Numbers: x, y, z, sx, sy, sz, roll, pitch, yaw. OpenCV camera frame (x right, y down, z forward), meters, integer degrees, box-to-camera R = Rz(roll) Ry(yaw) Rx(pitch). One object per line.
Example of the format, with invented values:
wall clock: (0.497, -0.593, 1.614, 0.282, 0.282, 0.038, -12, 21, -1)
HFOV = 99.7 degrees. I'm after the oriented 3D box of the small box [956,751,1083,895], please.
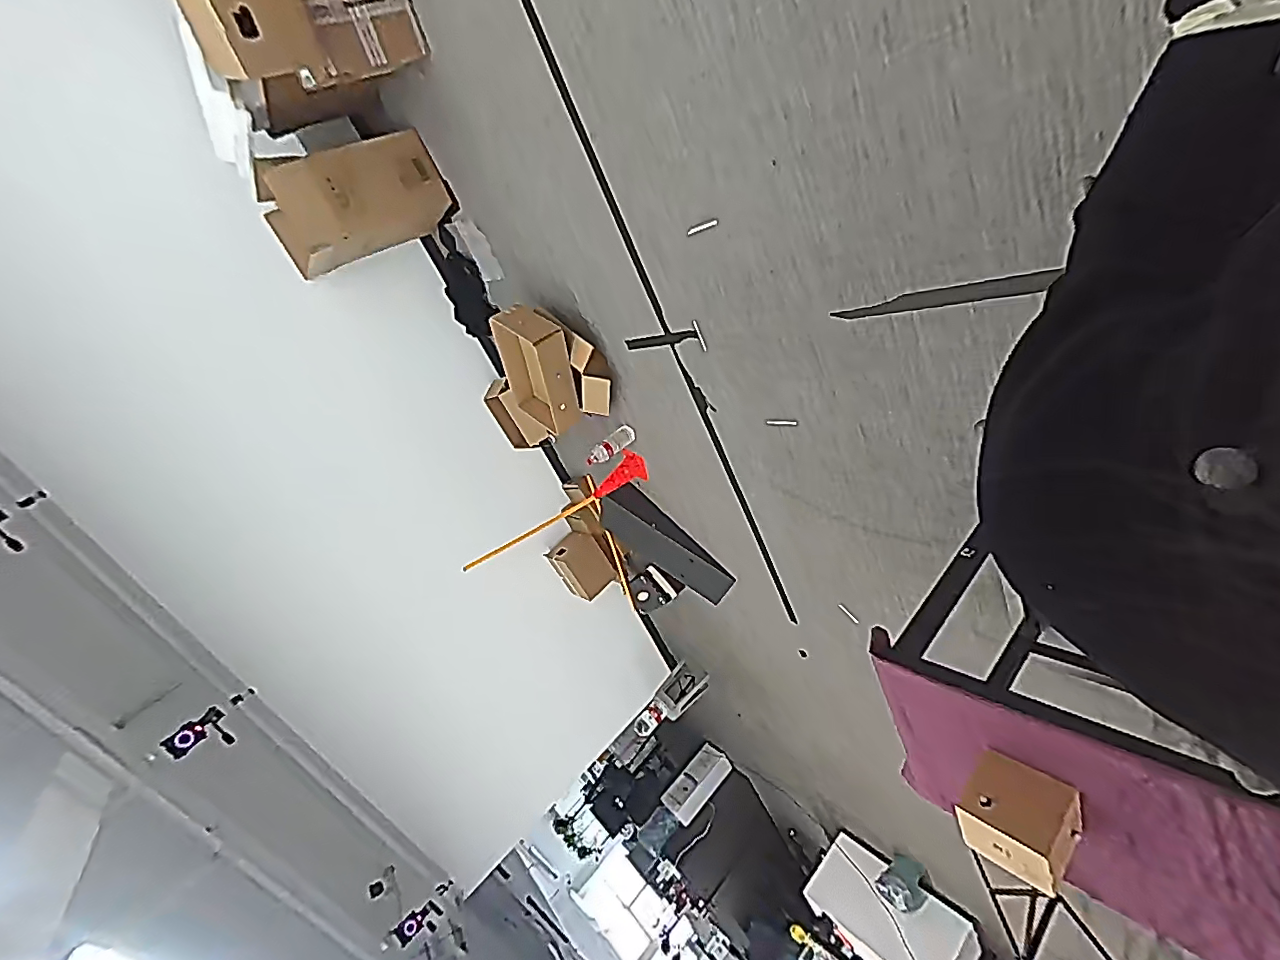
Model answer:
small box: (0.824, 0.728, 1.174, 0.179, 0.176, 0.168, 12, 135, 52)
